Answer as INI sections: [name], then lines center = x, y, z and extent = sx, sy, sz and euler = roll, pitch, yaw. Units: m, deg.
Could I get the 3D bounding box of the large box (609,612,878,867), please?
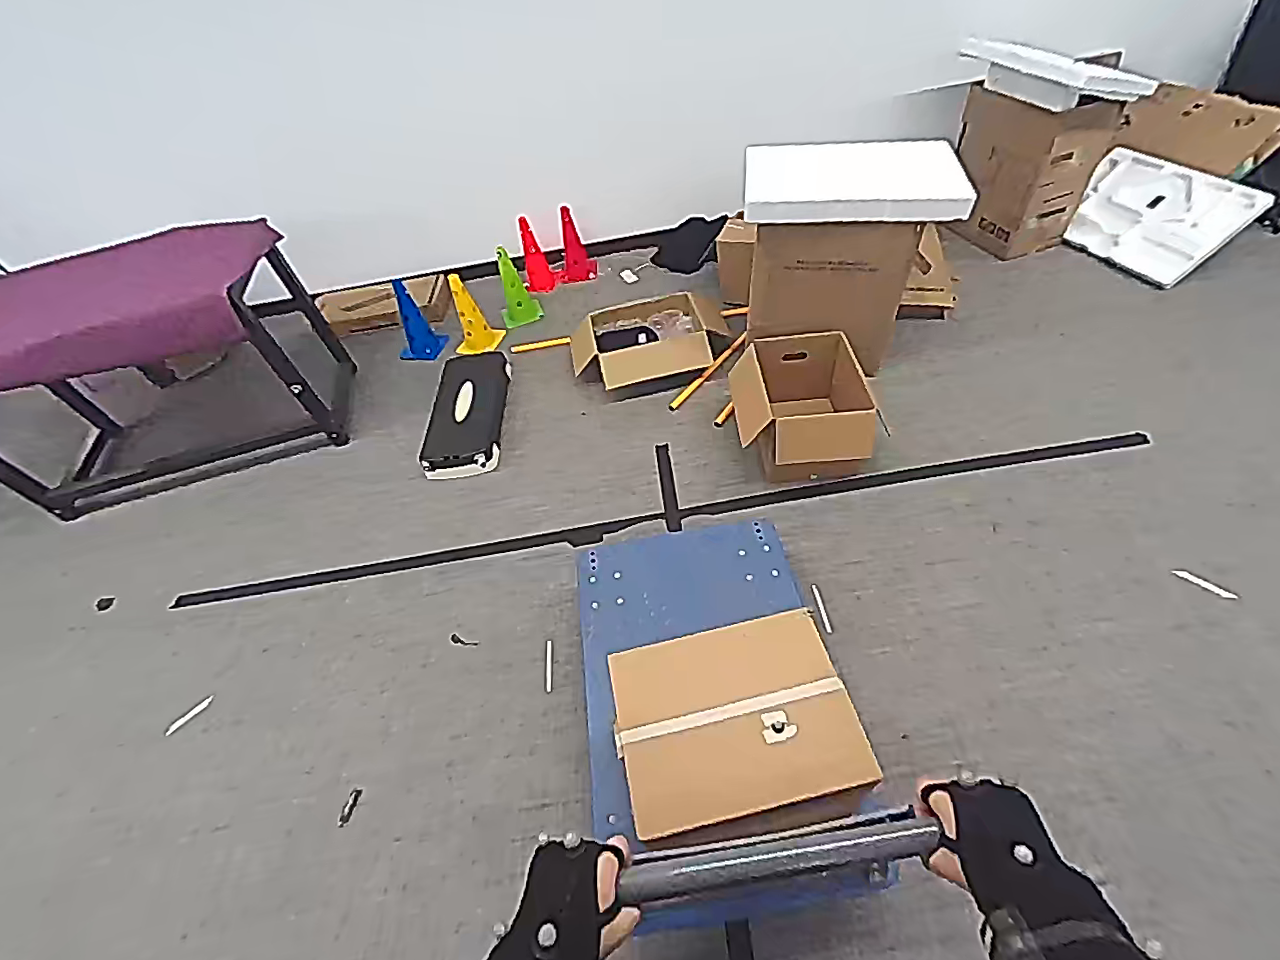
[large box]
center = 0.178, 0.514, 1.068
extent = 0.408, 0.320, 0.320
euler = -13, 49, -4
